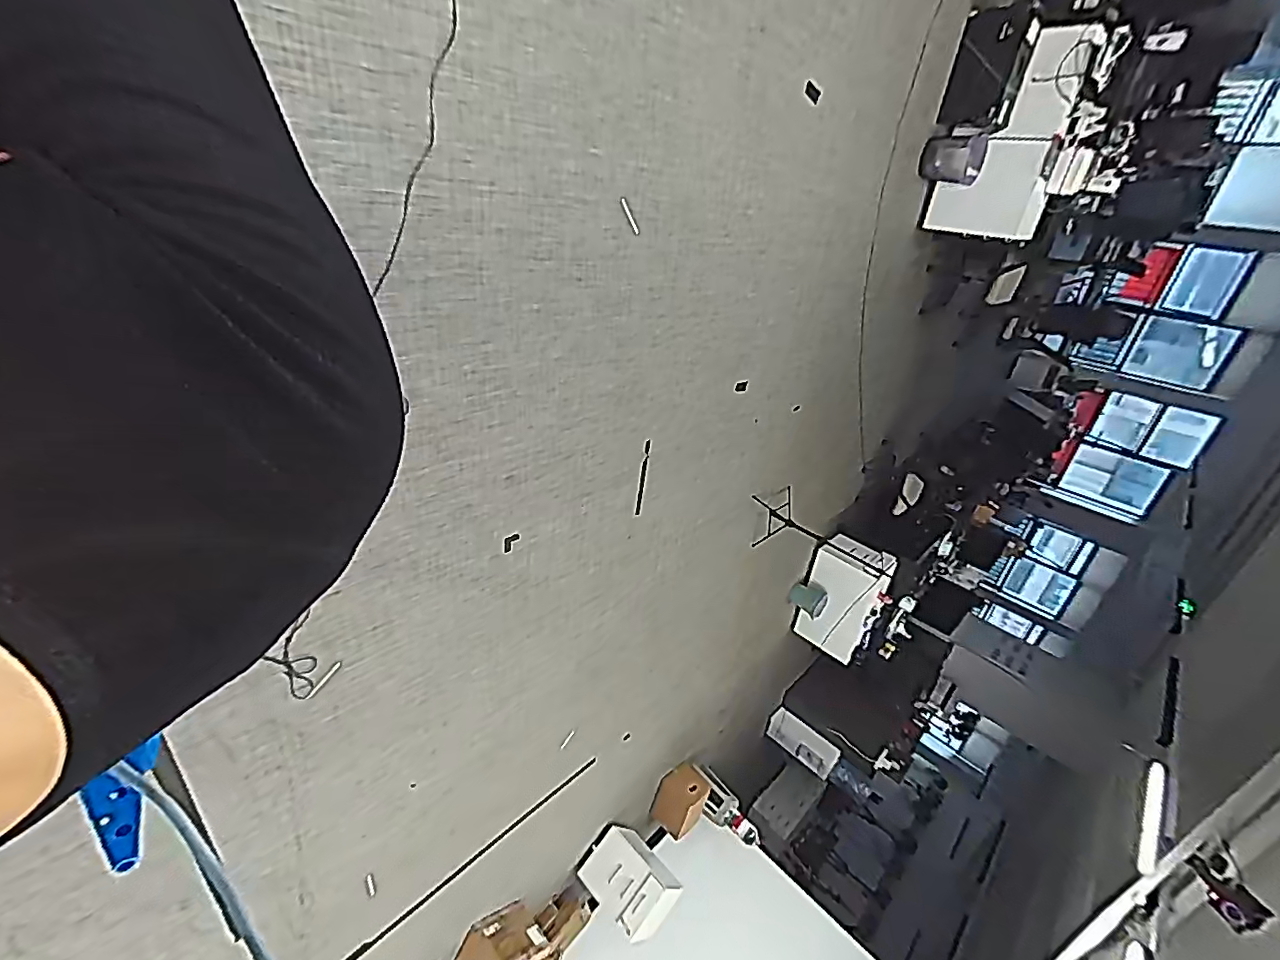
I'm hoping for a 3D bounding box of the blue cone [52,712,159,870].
[{"bbox_3d":[-1.259,0.757,1.296,0.193,0.380,0.192,7,109,-51],"label":"blue cone"}]
